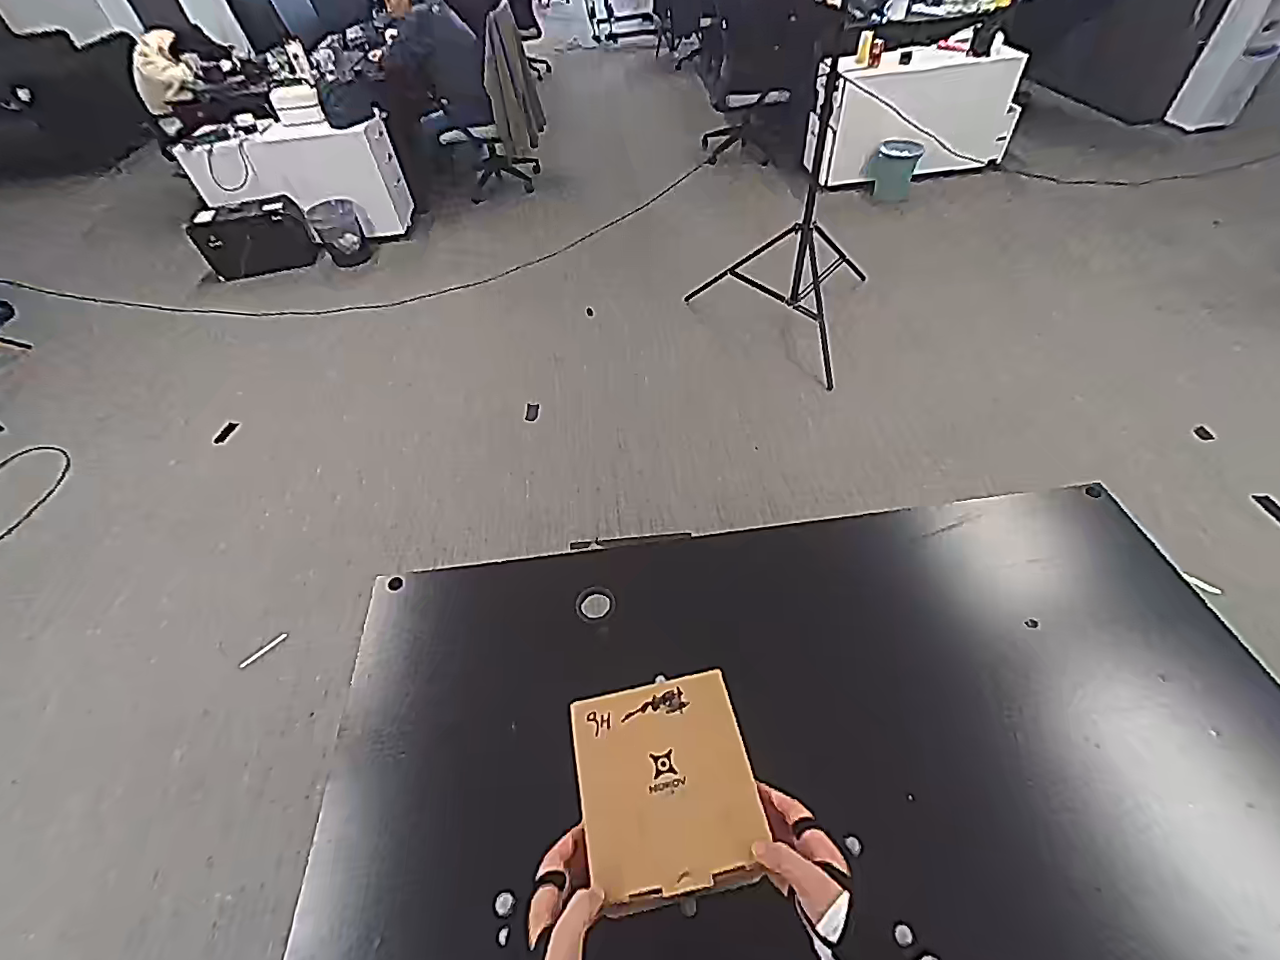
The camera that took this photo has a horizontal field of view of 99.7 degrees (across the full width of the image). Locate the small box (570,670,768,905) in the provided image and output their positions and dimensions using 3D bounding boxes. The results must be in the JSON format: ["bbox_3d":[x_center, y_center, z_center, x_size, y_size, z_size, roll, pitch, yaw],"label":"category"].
[{"bbox_3d":[0.027,0.335,0.584,0.168,0.176,0.179,-11,49,-4],"label":"small box"}]
